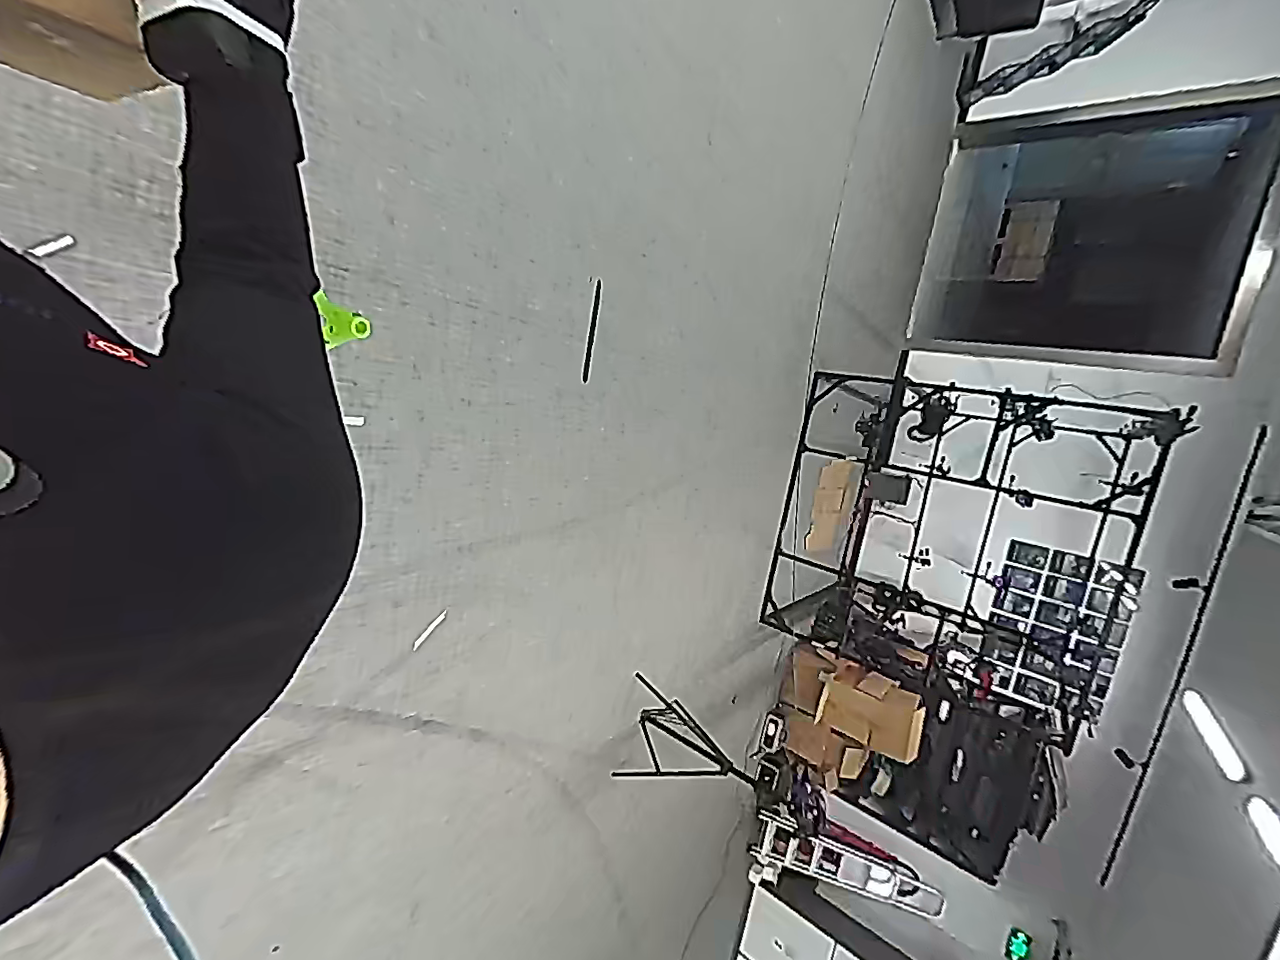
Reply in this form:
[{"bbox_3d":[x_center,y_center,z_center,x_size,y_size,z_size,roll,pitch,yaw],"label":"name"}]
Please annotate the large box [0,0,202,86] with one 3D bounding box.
[{"bbox_3d":[-0.528,-0.489,0.287,0.408,0.320,0.320,-6,114,-54],"label":"large box"}]
